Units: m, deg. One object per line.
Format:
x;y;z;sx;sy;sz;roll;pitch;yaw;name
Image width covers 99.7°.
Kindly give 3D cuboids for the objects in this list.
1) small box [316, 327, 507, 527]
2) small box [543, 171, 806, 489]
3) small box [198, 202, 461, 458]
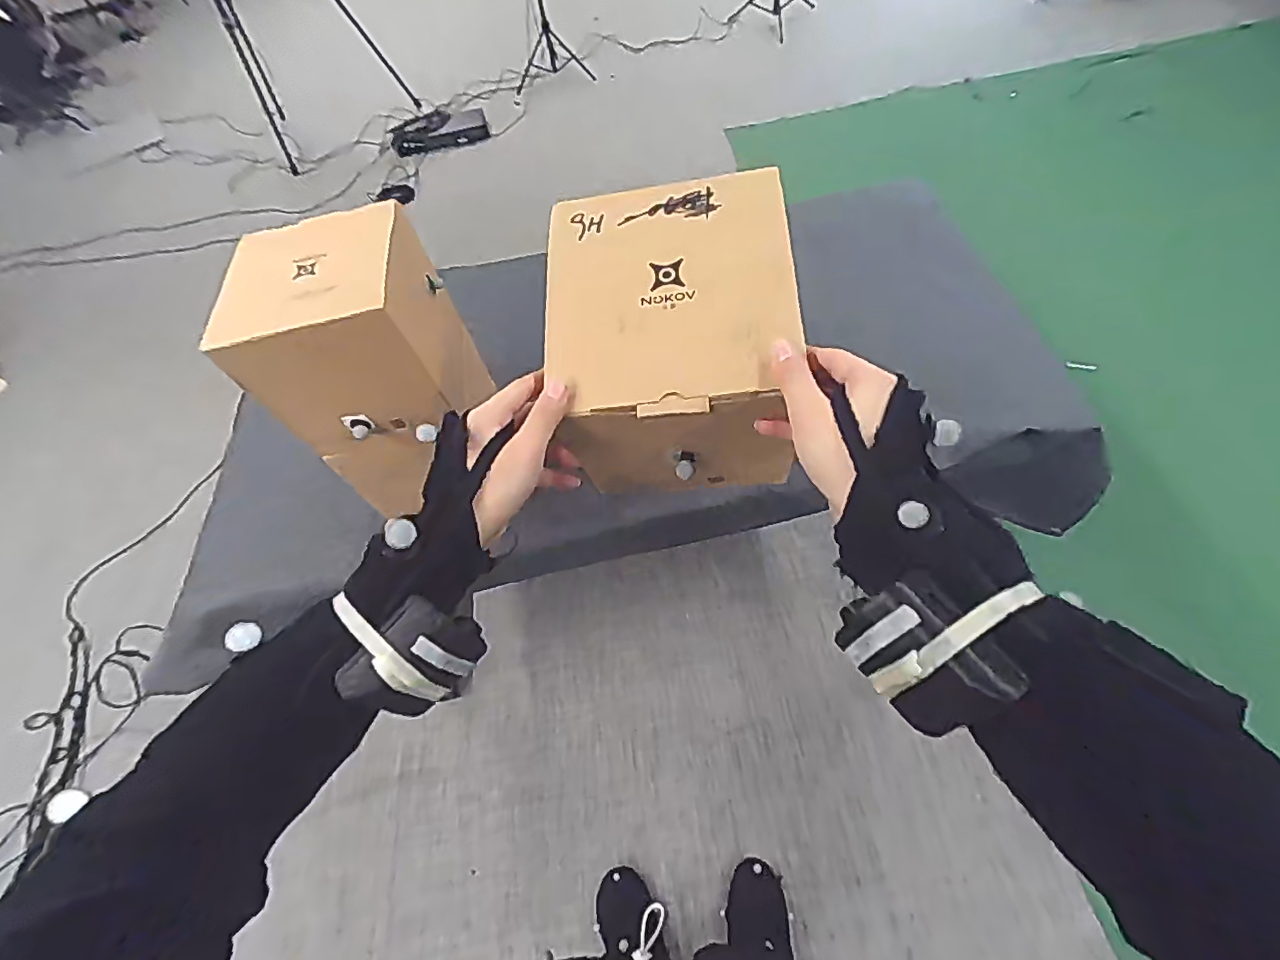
-0.281;-0.064;0.703;0.168;0.176;0.179;-13;57;0;small box
0.031;-0.096;0.426;0.168;0.176;0.179;-5;71;9;small box
-0.300;-0.151;0.568;0.168;0.176;0.179;-14;58;0;small box
